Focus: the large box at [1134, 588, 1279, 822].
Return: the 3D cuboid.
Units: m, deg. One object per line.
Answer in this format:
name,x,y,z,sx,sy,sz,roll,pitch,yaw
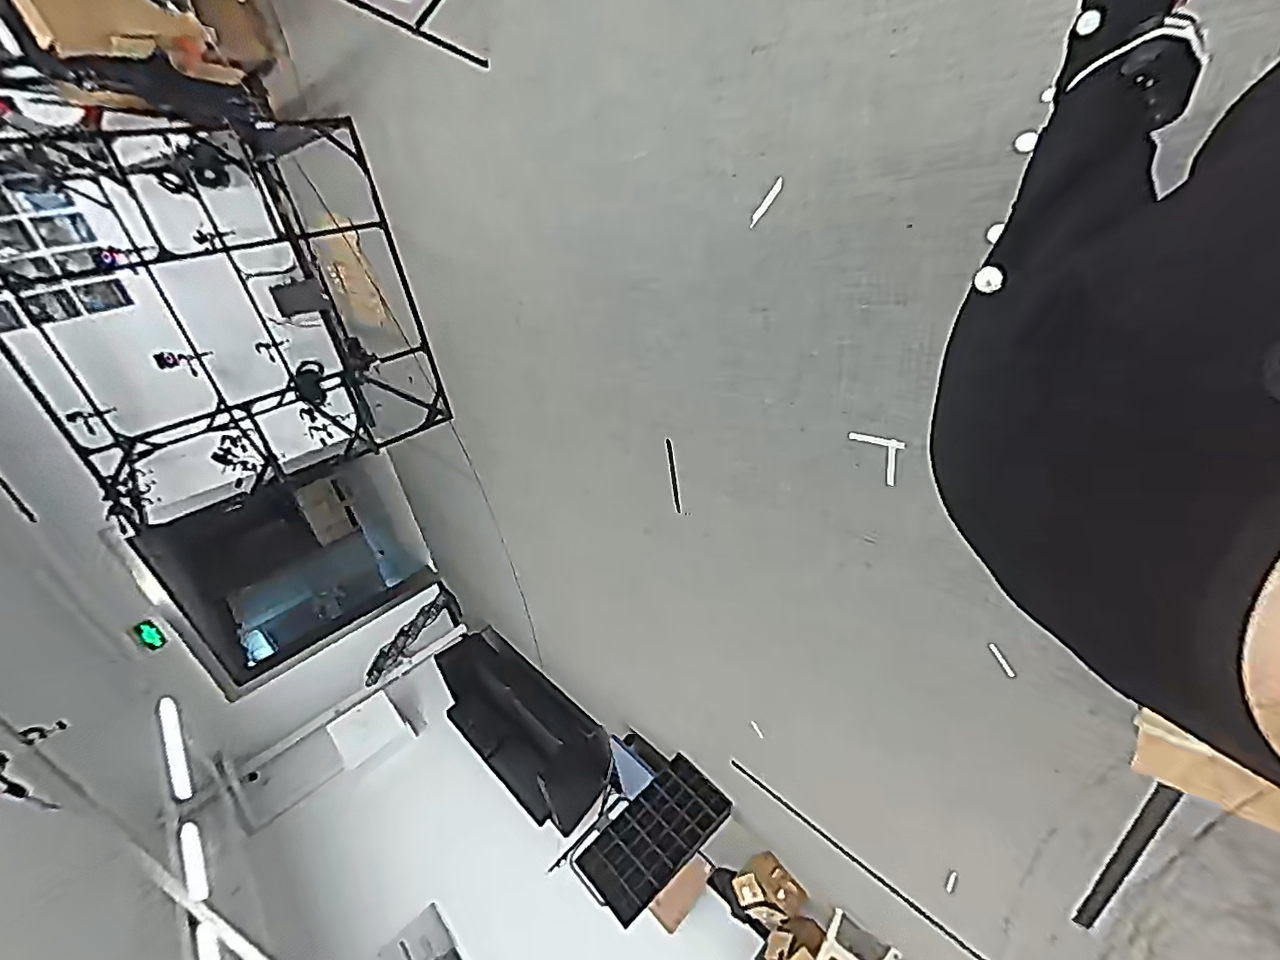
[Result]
large box,1.323,0.475,1.107,0.408,0.320,0.320,14,126,46
